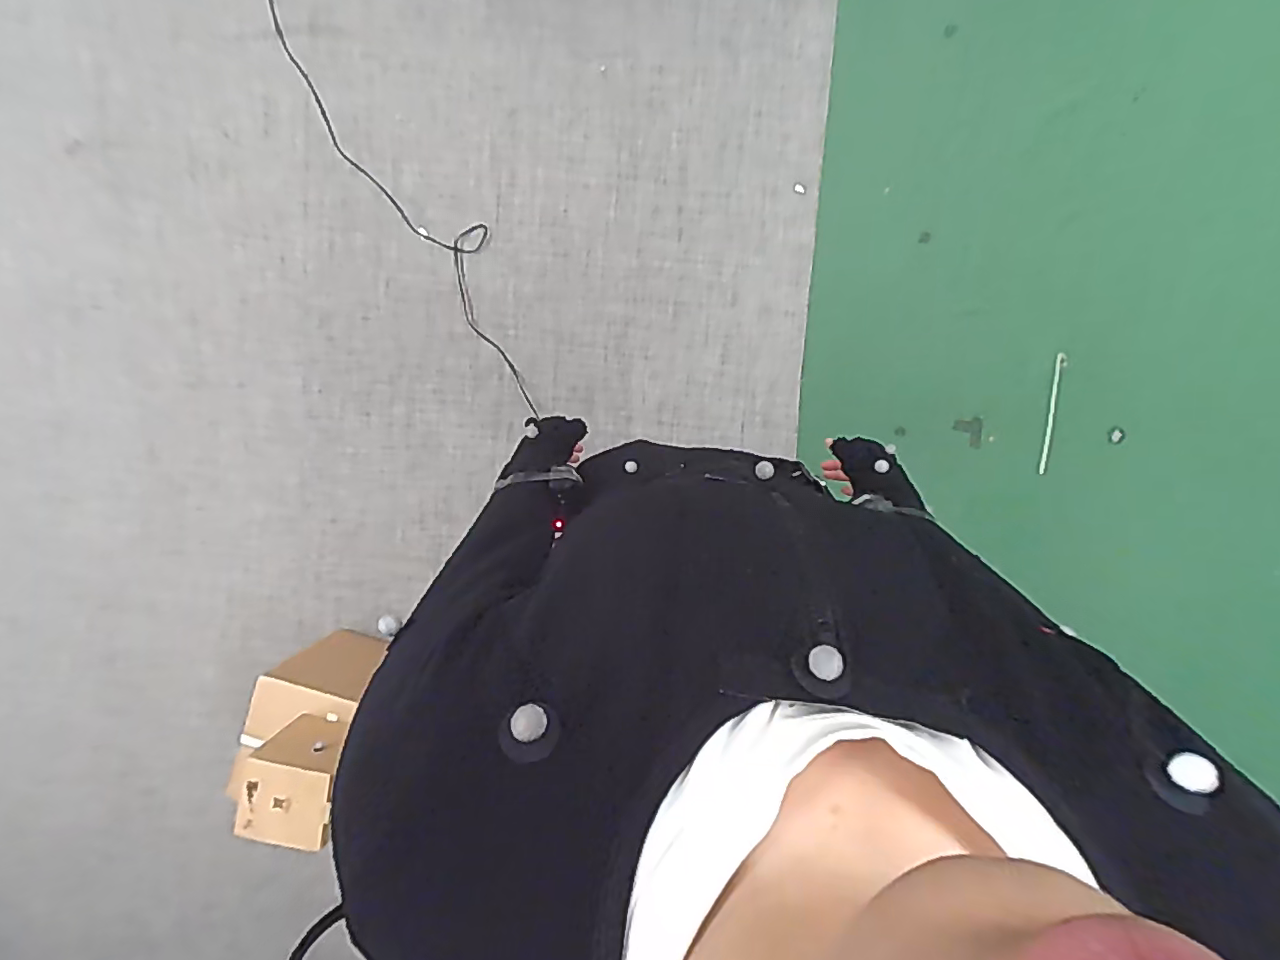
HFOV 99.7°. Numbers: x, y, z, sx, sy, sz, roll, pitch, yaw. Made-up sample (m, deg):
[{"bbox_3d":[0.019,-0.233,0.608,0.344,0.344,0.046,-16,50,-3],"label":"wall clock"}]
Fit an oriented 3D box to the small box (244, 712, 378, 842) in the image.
[{"bbox_3d":[-0.684,0.617,1.144,0.179,0.176,0.168,11,94,0],"label":"small box"}]
